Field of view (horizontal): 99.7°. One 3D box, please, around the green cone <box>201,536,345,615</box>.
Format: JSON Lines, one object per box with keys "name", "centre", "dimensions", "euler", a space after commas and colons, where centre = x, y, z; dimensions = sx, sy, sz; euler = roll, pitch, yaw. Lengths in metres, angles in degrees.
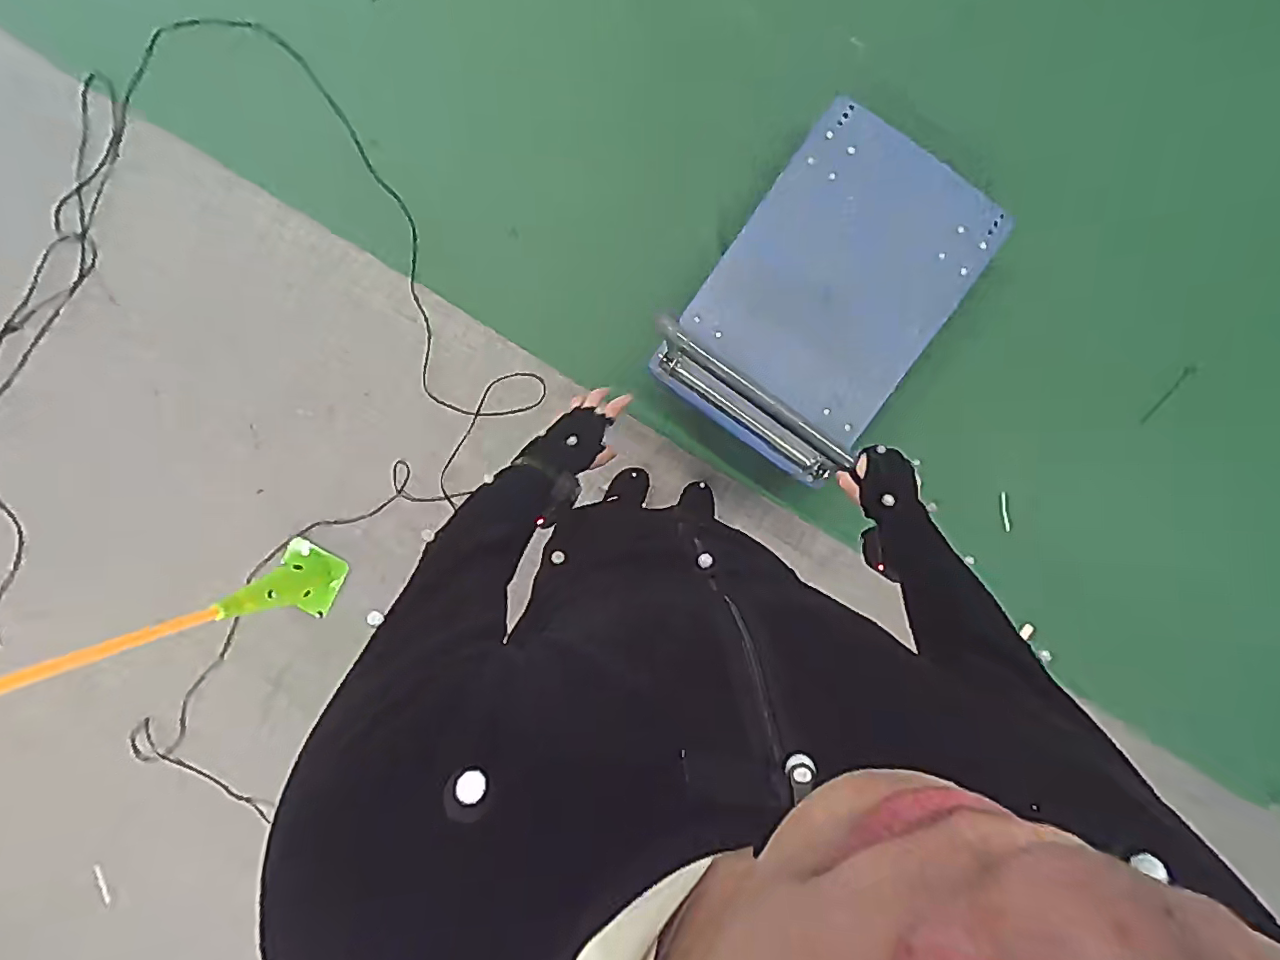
{"name": "green cone", "centre": [-1.041, 0.302, 1.501], "dimensions": [0.202, 0.368, 0.200], "euler": [29, 94, 2]}
